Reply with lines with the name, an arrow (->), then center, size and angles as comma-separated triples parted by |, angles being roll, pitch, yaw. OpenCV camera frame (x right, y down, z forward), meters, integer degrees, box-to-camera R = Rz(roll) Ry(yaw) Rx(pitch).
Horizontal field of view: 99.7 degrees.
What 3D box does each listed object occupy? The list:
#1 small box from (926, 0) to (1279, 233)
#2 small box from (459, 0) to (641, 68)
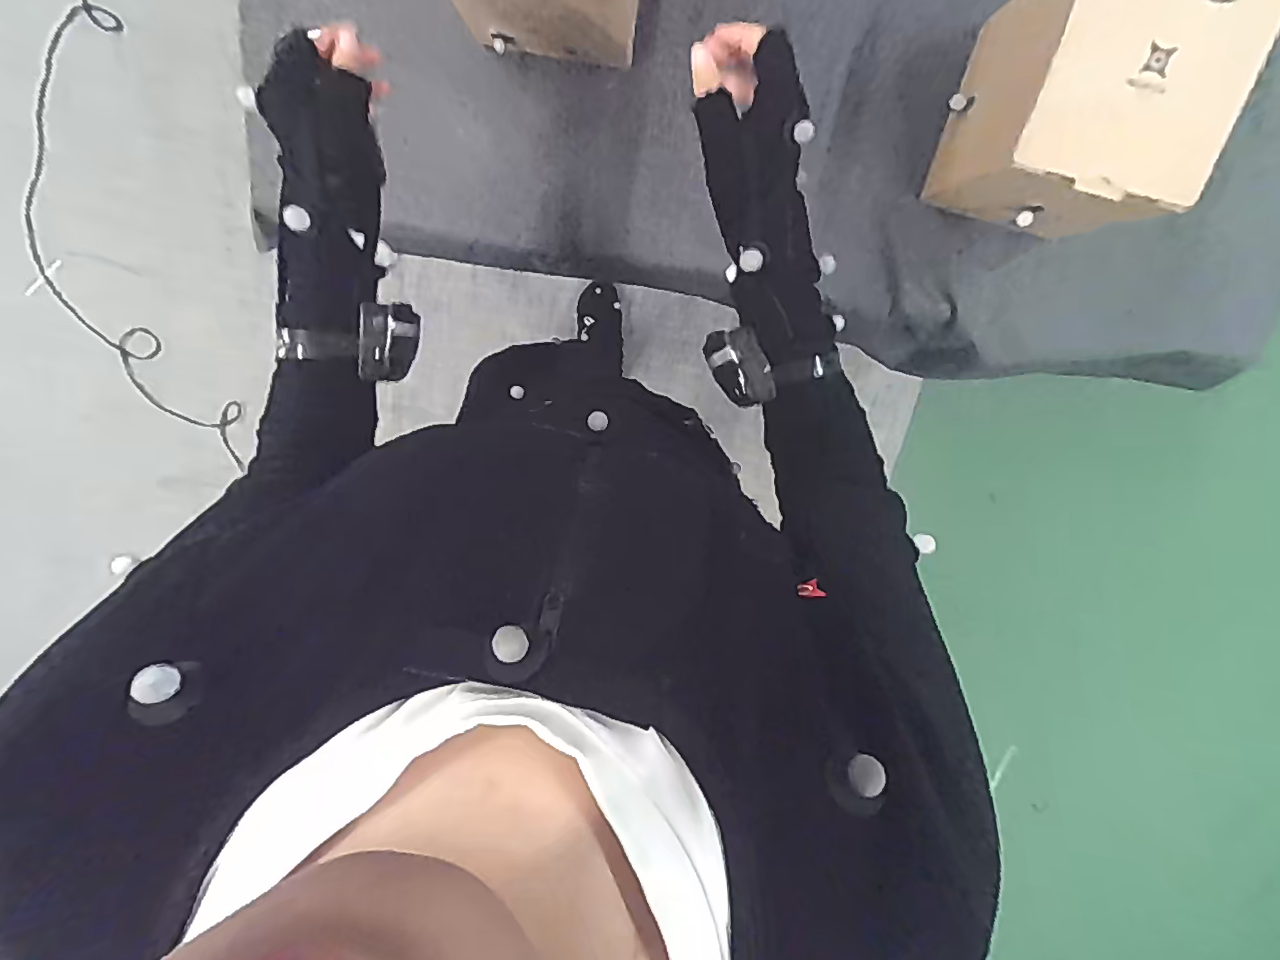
small box -> 0.413, -0.357, 0.526 | 0.168, 0.176, 0.179 | 13, 107, -3
small box -> -0.078, -0.511, 0.484 | 0.168, 0.176, 0.179 | 8, 106, -2
